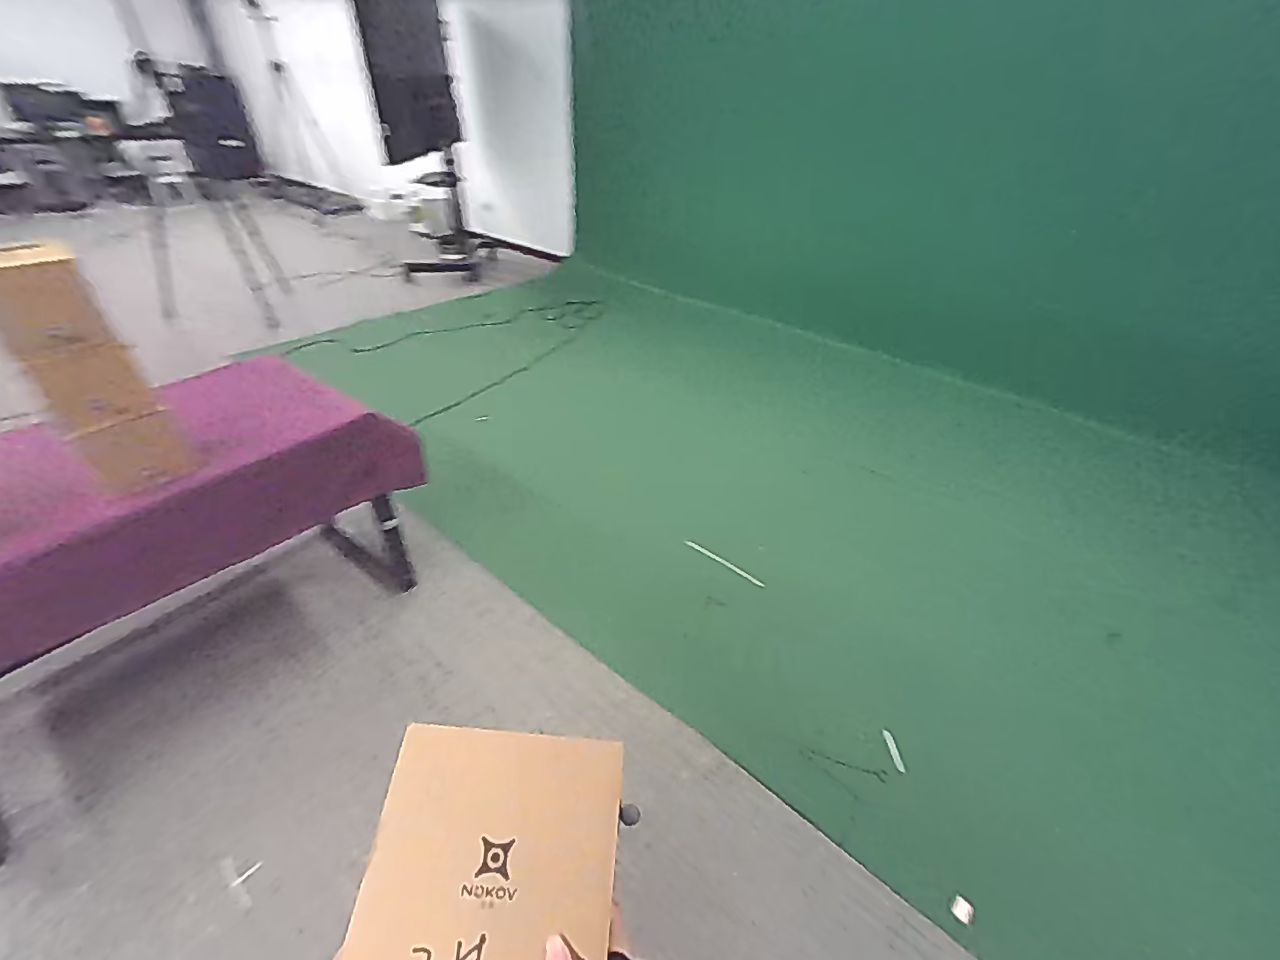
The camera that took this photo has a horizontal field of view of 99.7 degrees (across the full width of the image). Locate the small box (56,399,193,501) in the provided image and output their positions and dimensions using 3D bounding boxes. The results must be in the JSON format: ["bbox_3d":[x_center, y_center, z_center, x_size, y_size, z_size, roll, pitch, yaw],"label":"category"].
[{"bbox_3d":[-1.179,-0.081,1.247,0.168,0.176,0.179,27,42,30],"label":"small box"}]

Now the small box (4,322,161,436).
[{"bbox_3d":[-1.182,-0.216,1.155,0.179,0.176,0.168,29,44,29],"label":"small box"}]
